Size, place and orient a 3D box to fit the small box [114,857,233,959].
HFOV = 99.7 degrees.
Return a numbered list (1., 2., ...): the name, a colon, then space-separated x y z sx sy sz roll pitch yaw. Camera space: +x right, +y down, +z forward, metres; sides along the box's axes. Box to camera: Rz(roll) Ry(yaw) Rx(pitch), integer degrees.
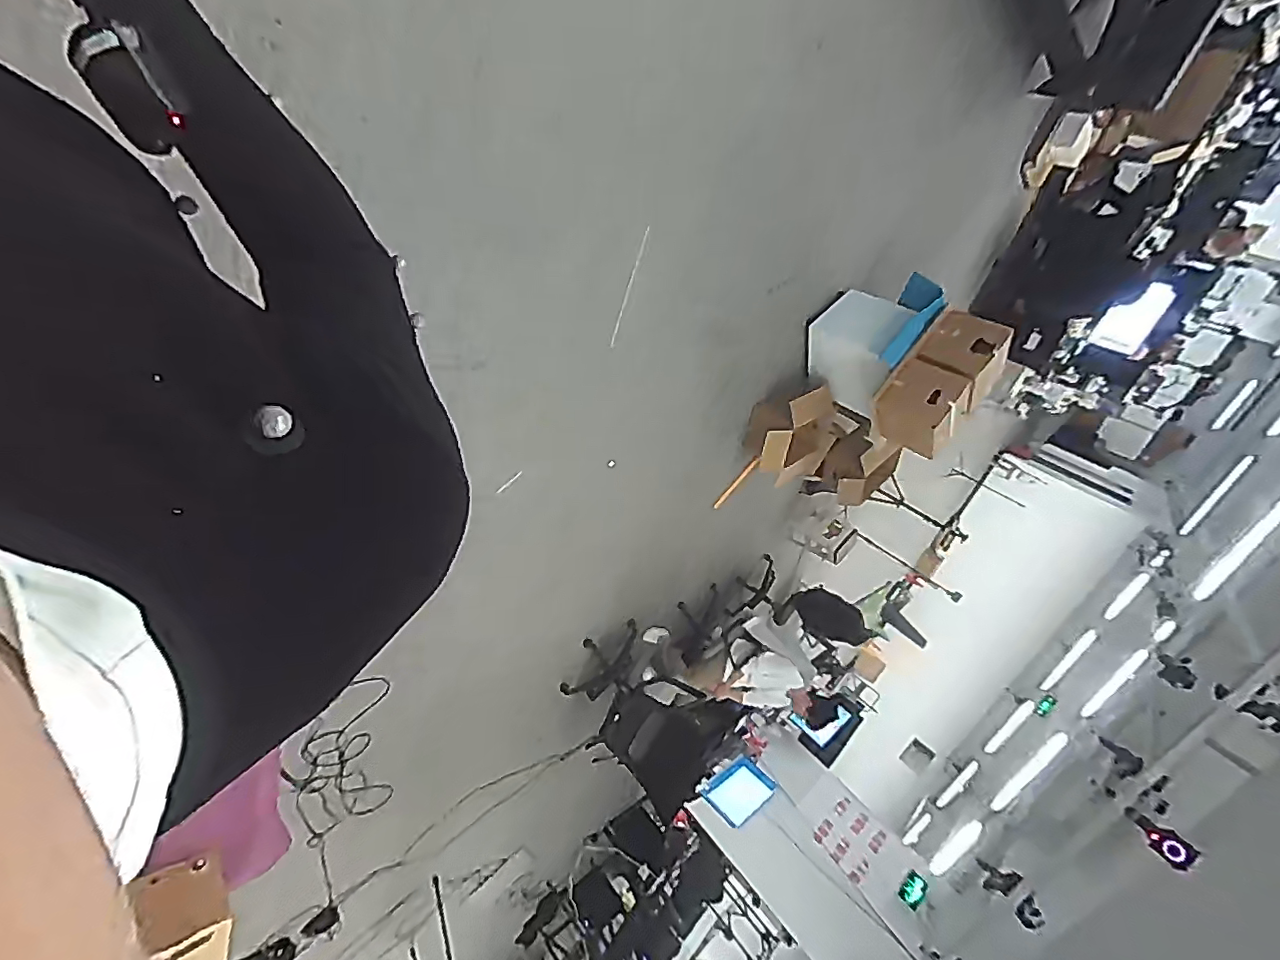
1. small box: -0.967 0.931 1.118 0.168 0.176 0.179 -3 122 -47
